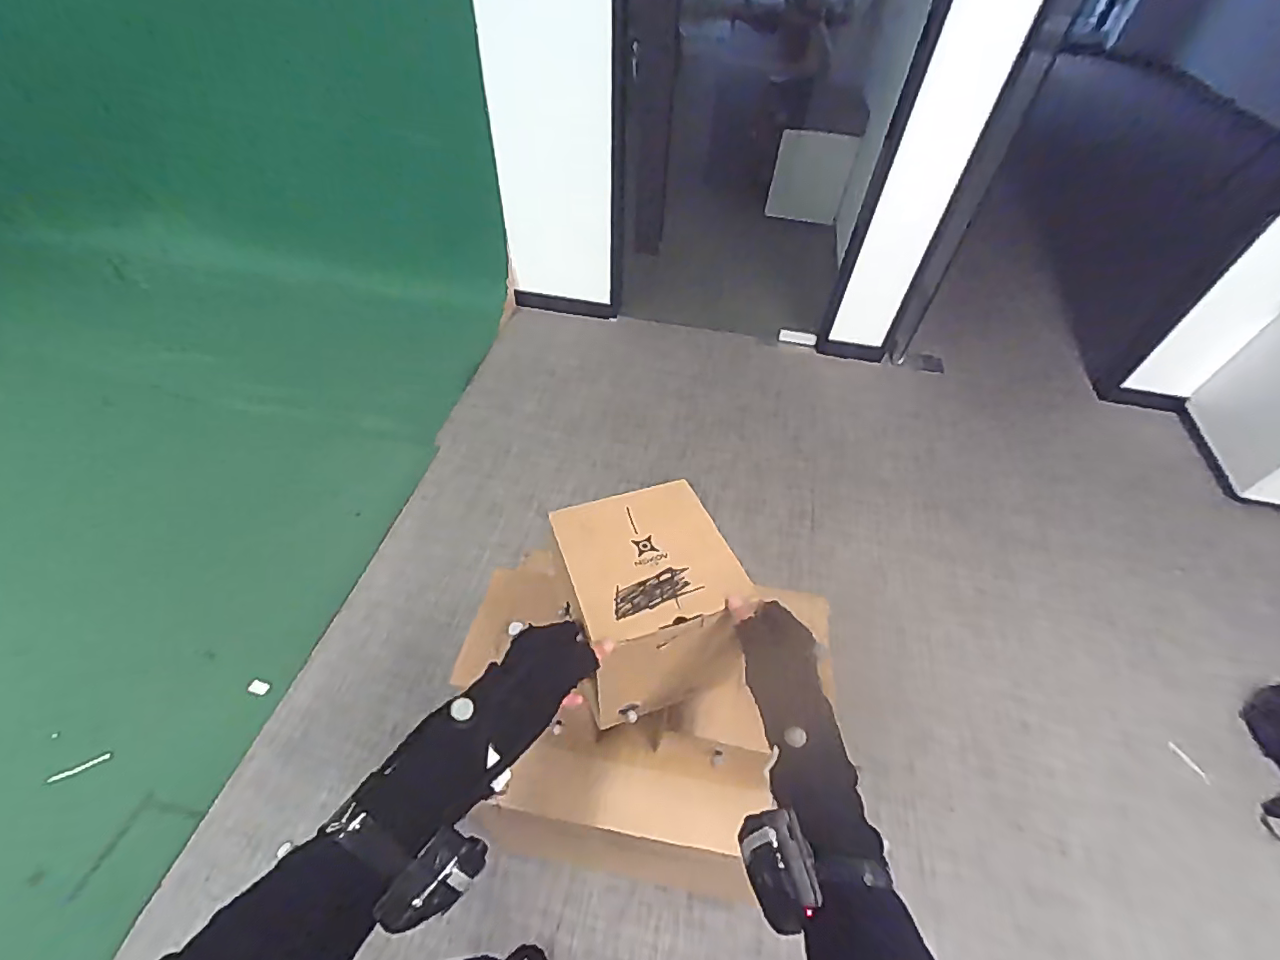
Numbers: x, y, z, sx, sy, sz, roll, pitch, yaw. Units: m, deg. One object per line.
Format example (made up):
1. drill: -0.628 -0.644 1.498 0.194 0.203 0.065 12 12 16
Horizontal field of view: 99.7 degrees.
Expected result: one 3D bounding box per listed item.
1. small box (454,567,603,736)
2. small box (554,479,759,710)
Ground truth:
1. small box: -0.129 0.245 0.757 0.179 0.176 0.168 8 52 5
2. small box: 0.009 0.131 0.604 0.168 0.176 0.179 -13 45 -16
